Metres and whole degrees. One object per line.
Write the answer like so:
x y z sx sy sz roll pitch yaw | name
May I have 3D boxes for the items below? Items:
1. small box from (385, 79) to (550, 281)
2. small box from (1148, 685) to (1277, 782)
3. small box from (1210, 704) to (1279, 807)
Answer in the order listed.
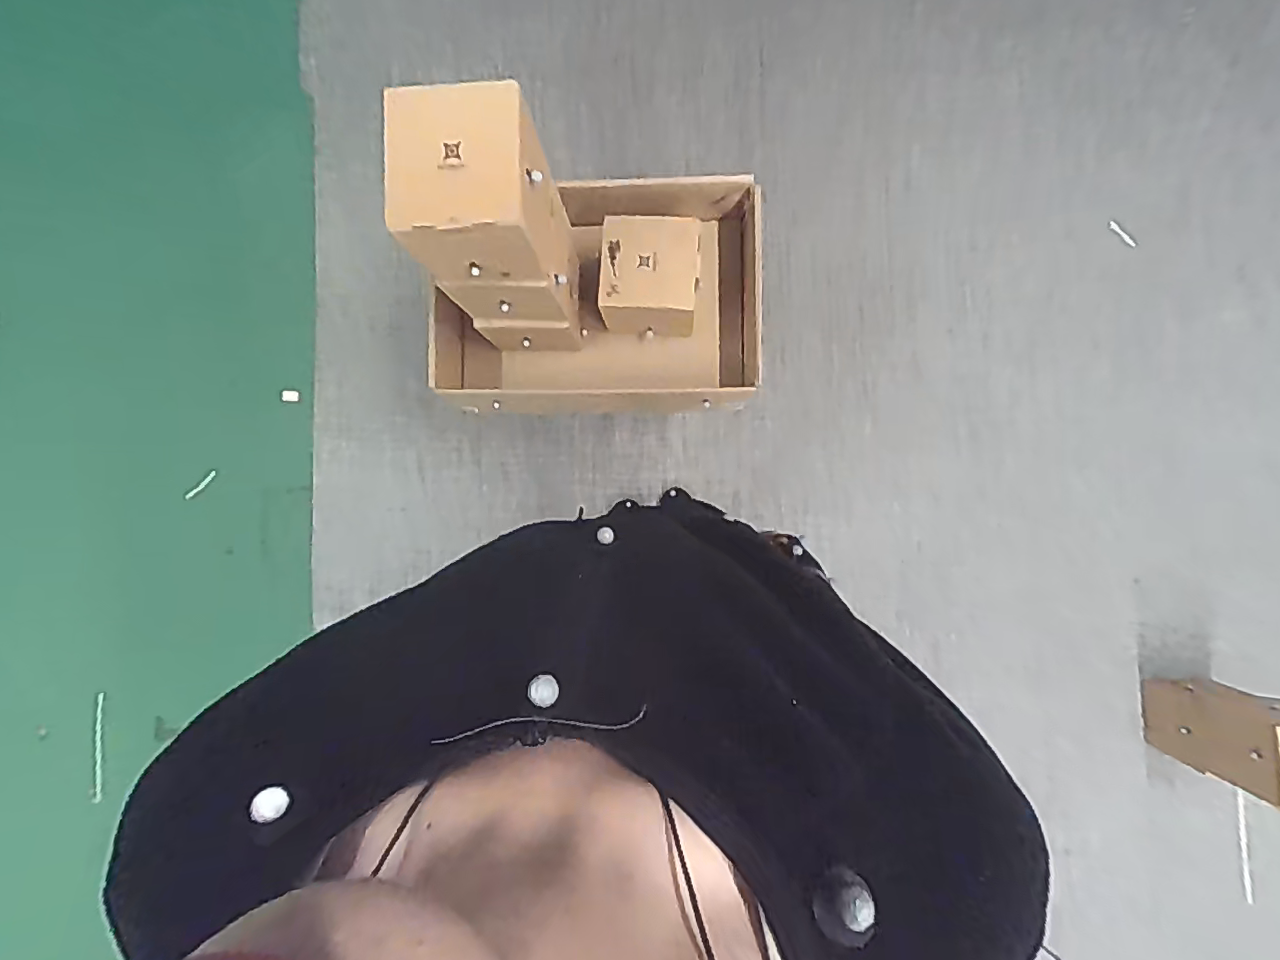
-0.219 -0.386 0.721 0.168 0.176 0.179 -1 88 3 | small box
1.410 0.616 1.334 0.168 0.176 0.179 -2 88 4 | small box
1.400 0.598 1.171 0.168 0.176 0.179 -2 87 4 | small box
